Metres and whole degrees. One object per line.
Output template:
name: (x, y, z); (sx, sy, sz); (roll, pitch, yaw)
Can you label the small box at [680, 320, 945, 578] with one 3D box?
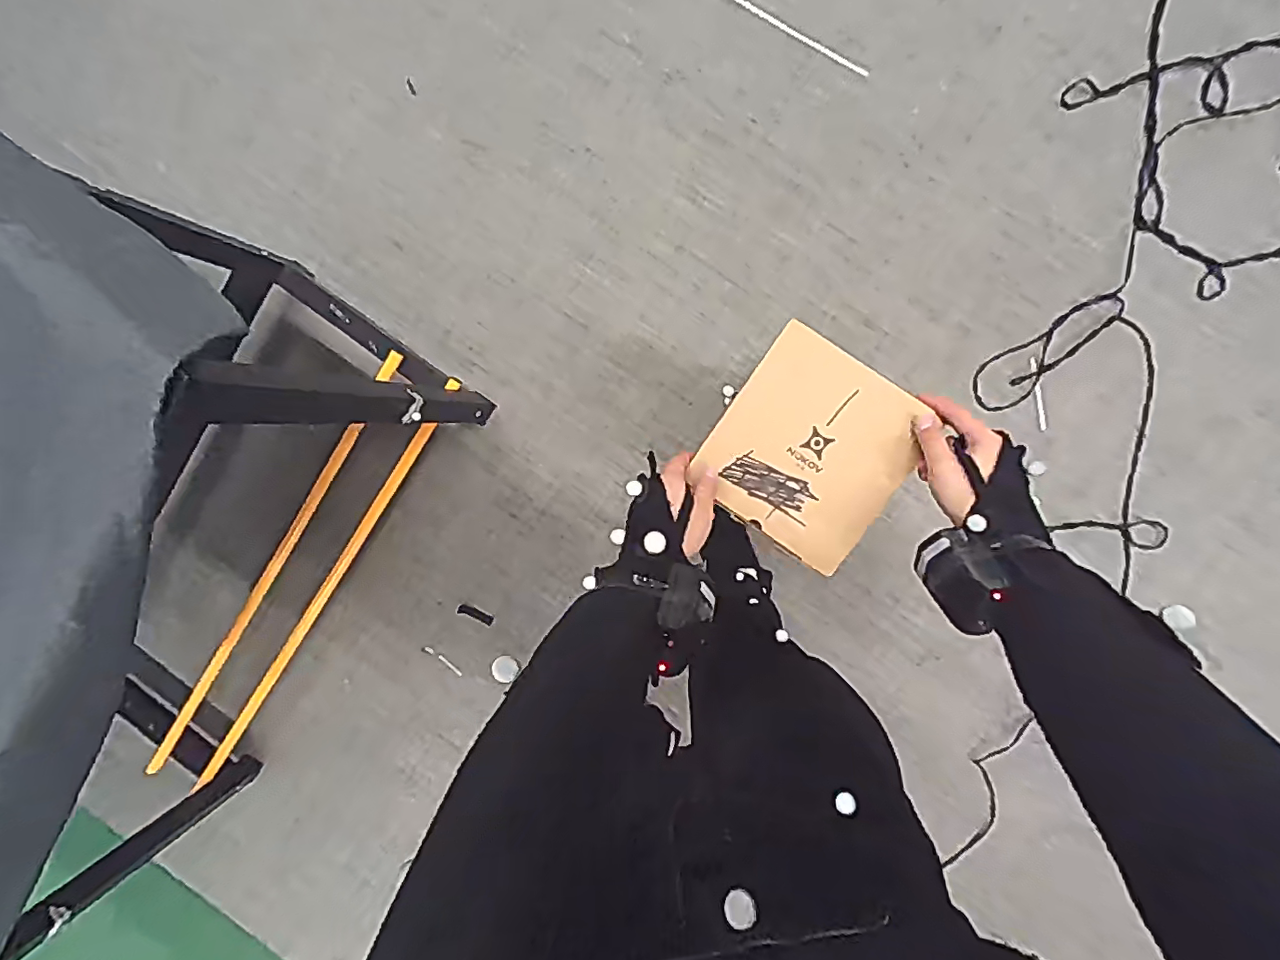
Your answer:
small box: (0.161, -0.031, 0.559); (0.168, 0.176, 0.179); (35, 98, 3)
